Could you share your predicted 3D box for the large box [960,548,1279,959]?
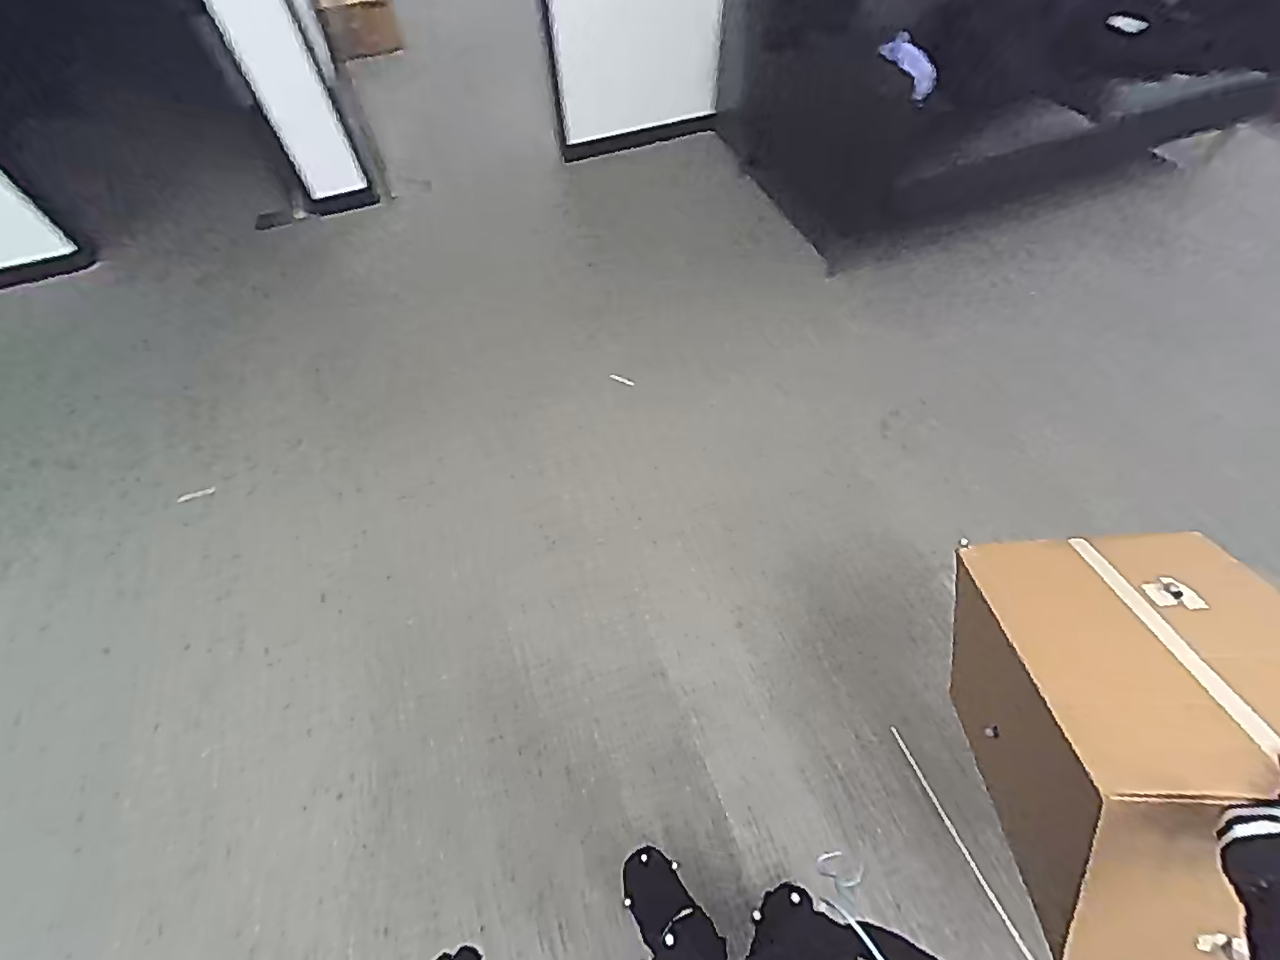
[{"bbox_3d":[0.642,0.331,0.687,0.320,0.320,0.408,-5,25,15],"label":"large box"}]
